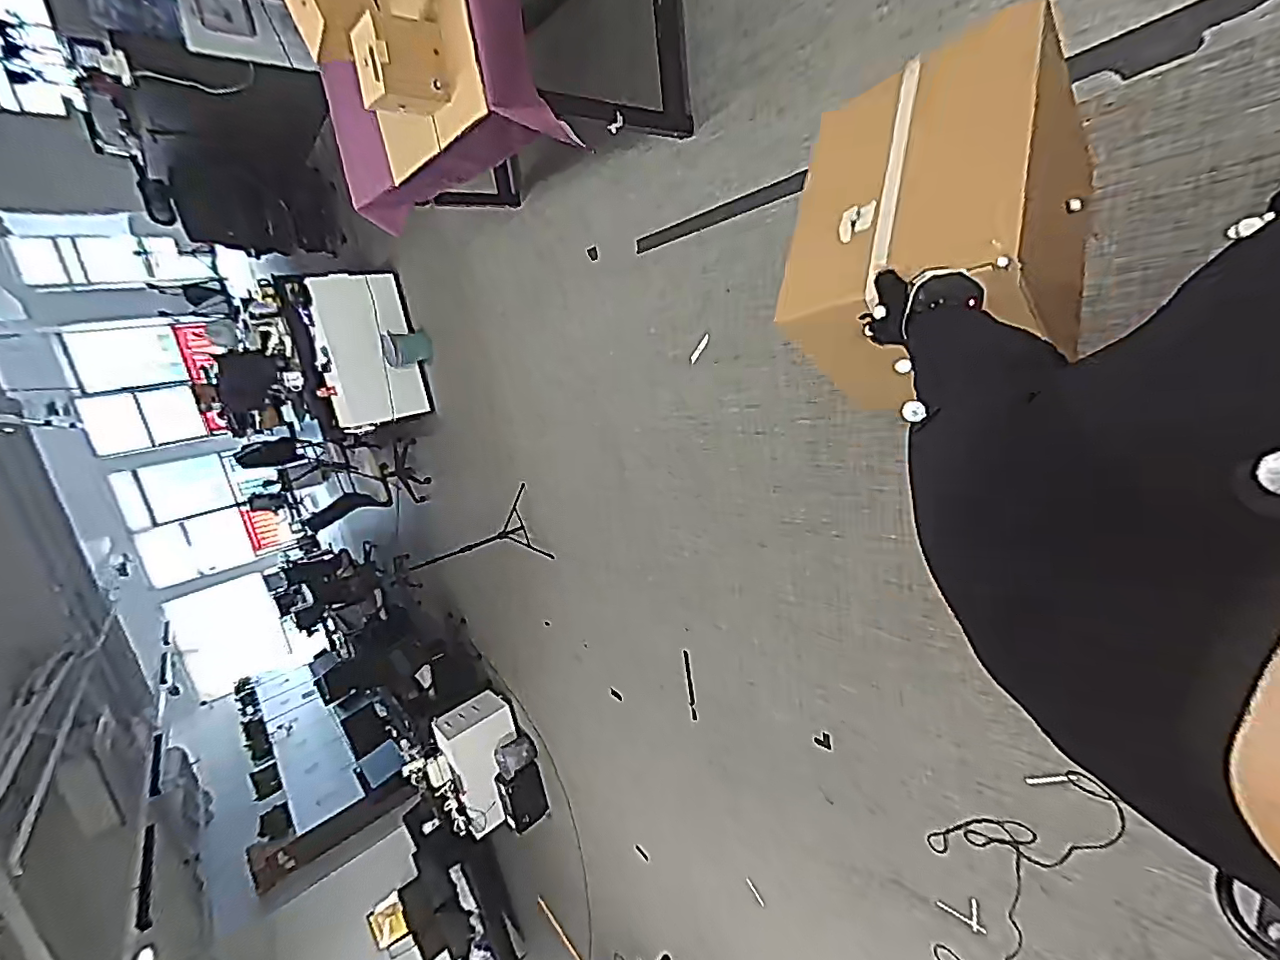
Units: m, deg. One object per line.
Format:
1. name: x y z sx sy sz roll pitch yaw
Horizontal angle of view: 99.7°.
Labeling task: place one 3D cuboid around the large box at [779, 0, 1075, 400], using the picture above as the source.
1. large box: 0.459 -0.383 0.847 0.320 0.320 0.408 -2 70 49
